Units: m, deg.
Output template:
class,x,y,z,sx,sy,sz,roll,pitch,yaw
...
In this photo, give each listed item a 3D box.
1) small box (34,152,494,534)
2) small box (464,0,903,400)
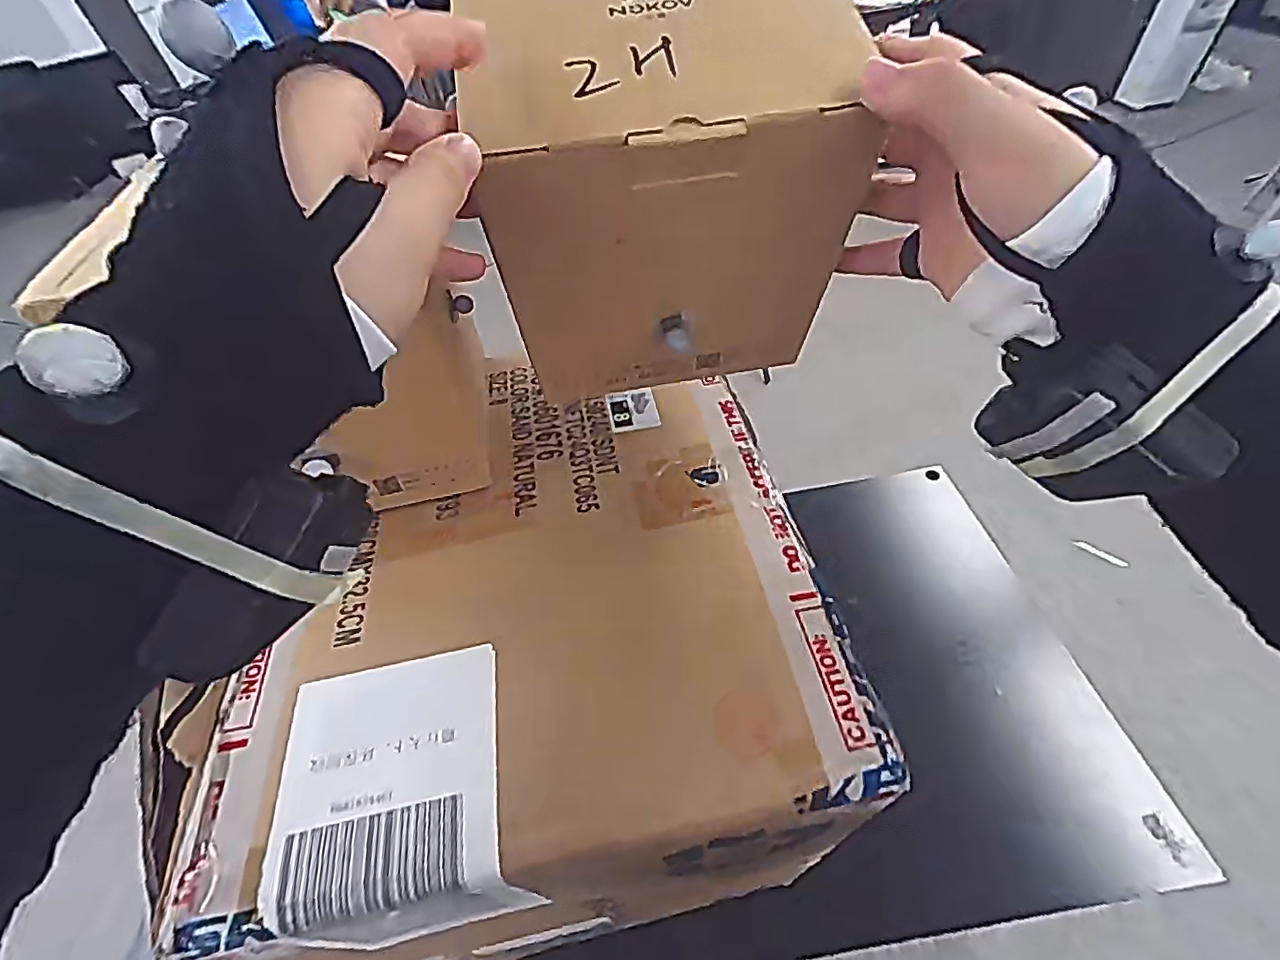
class,x,y,z,sx,sy,sz,roll,pitch,yaw
small box,-0.200,-0.092,0.358,0.168,0.176,0.179,-12,47,-6
small box,0.007,-0.170,0.306,0.168,0.176,0.179,-10,67,-2
